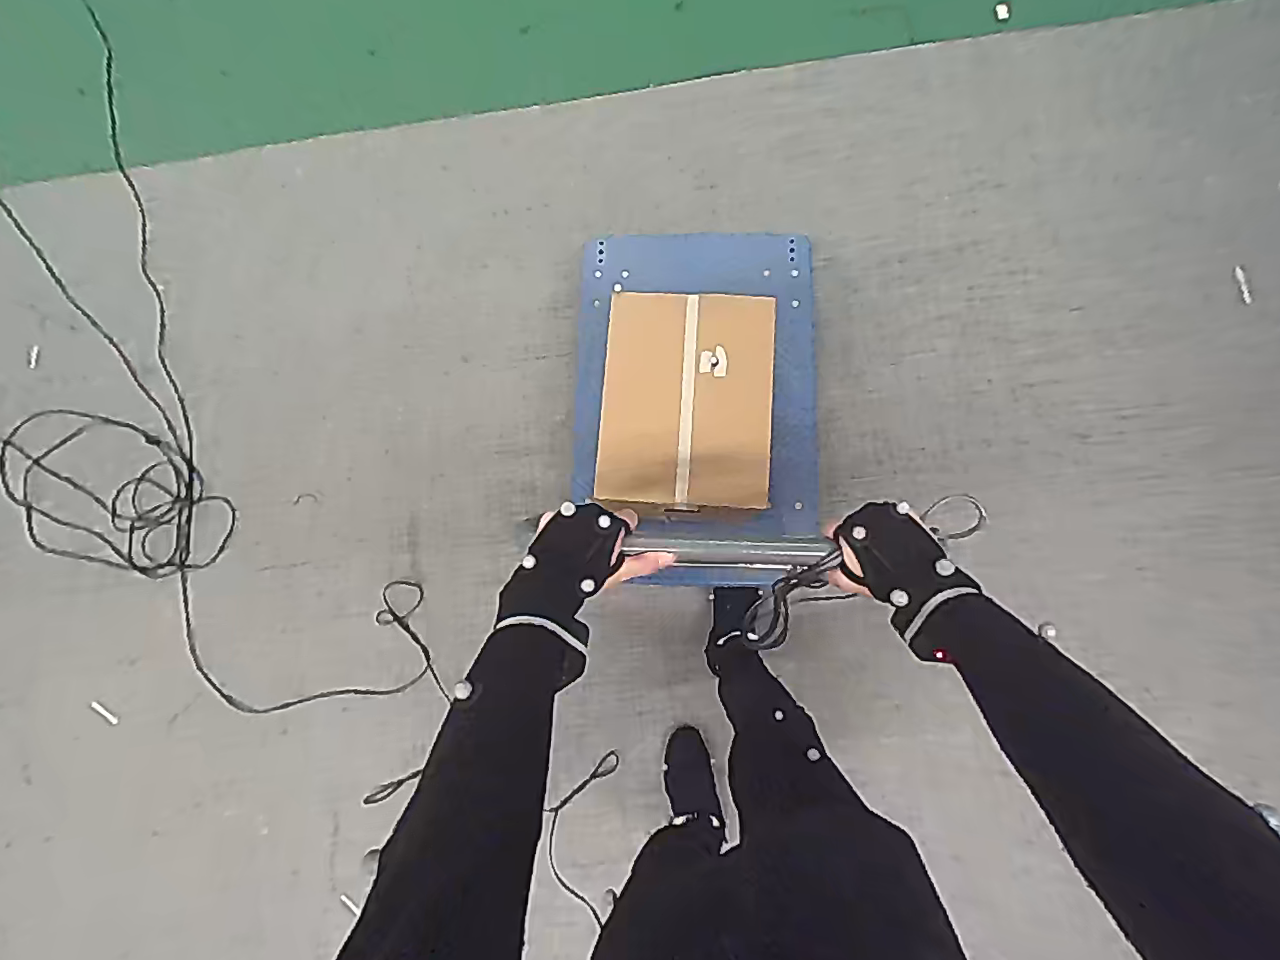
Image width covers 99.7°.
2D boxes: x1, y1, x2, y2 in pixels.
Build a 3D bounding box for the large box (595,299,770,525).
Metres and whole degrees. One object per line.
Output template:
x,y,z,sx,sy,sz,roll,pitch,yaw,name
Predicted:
0.092,-0.121,1.148,0.320,0.320,0.408,4,80,4,large box
